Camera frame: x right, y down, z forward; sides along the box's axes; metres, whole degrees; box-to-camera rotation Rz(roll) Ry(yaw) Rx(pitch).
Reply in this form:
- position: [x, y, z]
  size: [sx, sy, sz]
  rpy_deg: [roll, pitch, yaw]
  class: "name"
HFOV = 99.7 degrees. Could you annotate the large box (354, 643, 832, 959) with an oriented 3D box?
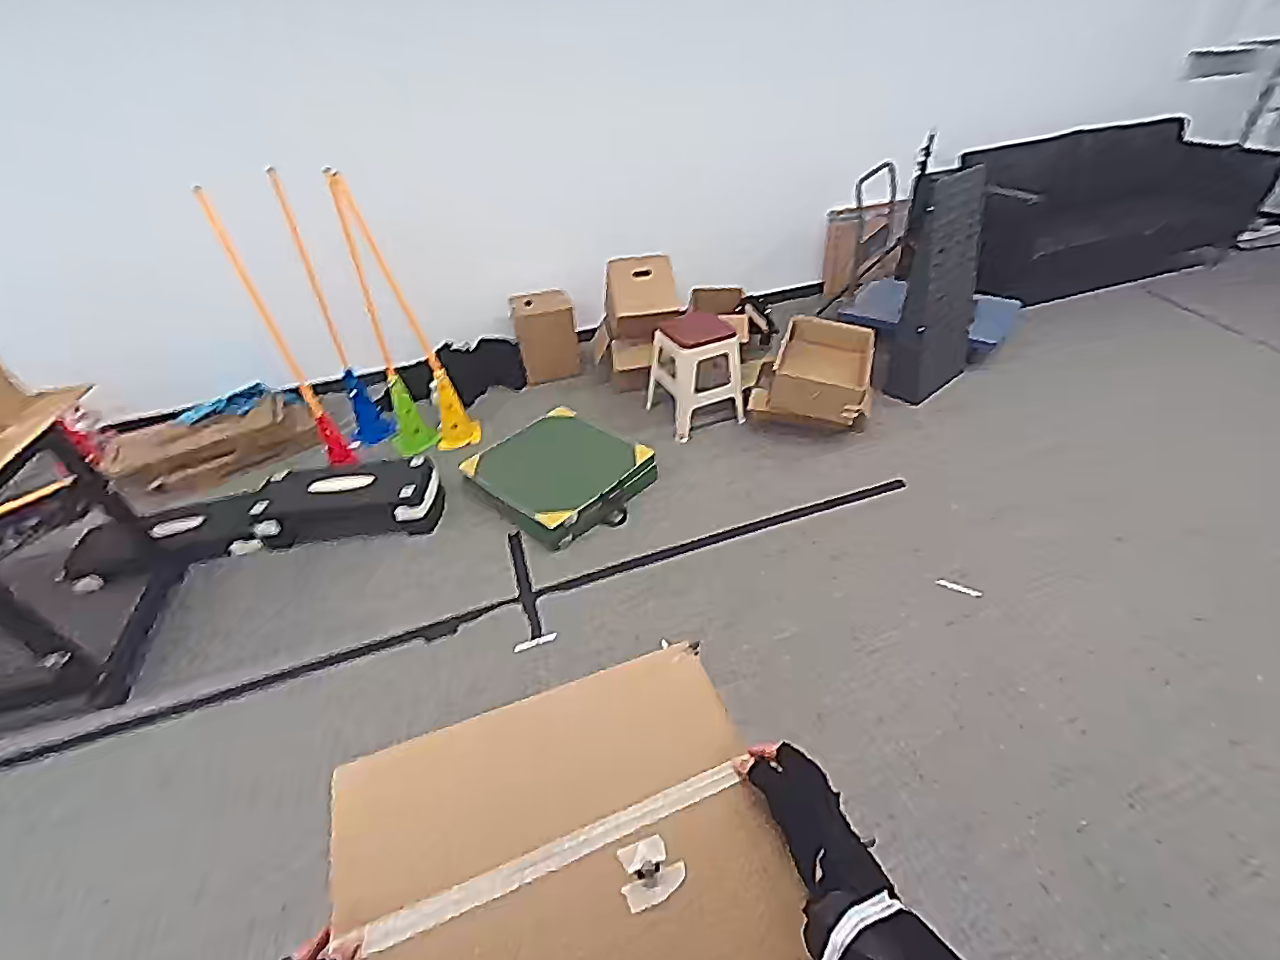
- position: [-0.067, 0.460, 0.626]
  size: [0.408, 0.320, 0.320]
  rpy_deg: [-15, 45, -16]
  class: "large box"
